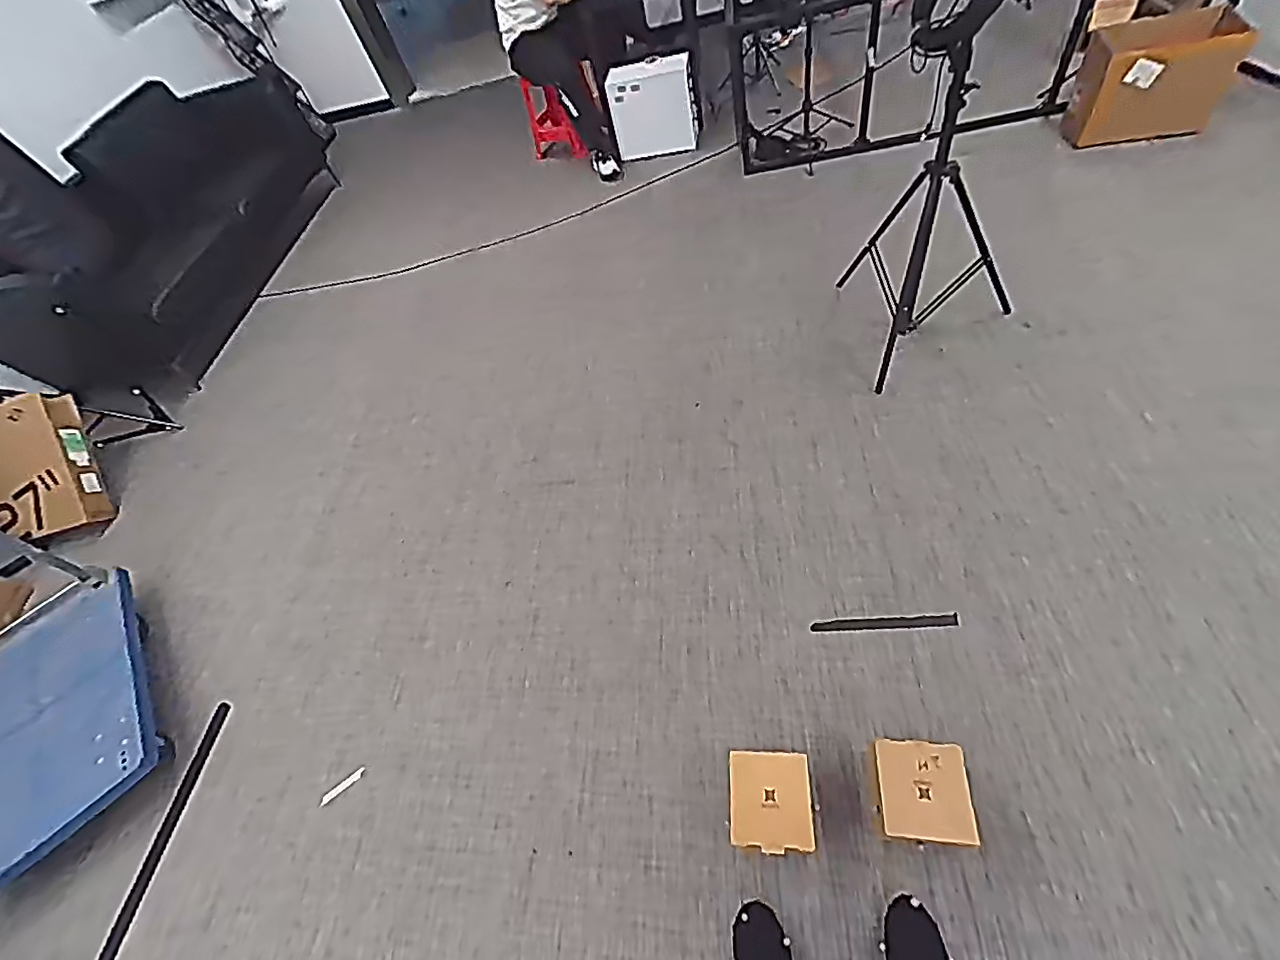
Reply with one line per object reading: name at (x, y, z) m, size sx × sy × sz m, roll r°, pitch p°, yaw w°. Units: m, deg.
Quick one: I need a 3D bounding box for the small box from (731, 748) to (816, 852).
small box at (0.286, 0.700, 1.182) m, size 0.168 × 0.176 × 0.179 m, roll -4°, pitch 55°, yaw 13°

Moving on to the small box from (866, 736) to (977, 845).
small box at (0.577, 0.652, 1.133) m, size 0.168 × 0.176 × 0.179 m, roll -1°, pitch 55°, yaw 14°
